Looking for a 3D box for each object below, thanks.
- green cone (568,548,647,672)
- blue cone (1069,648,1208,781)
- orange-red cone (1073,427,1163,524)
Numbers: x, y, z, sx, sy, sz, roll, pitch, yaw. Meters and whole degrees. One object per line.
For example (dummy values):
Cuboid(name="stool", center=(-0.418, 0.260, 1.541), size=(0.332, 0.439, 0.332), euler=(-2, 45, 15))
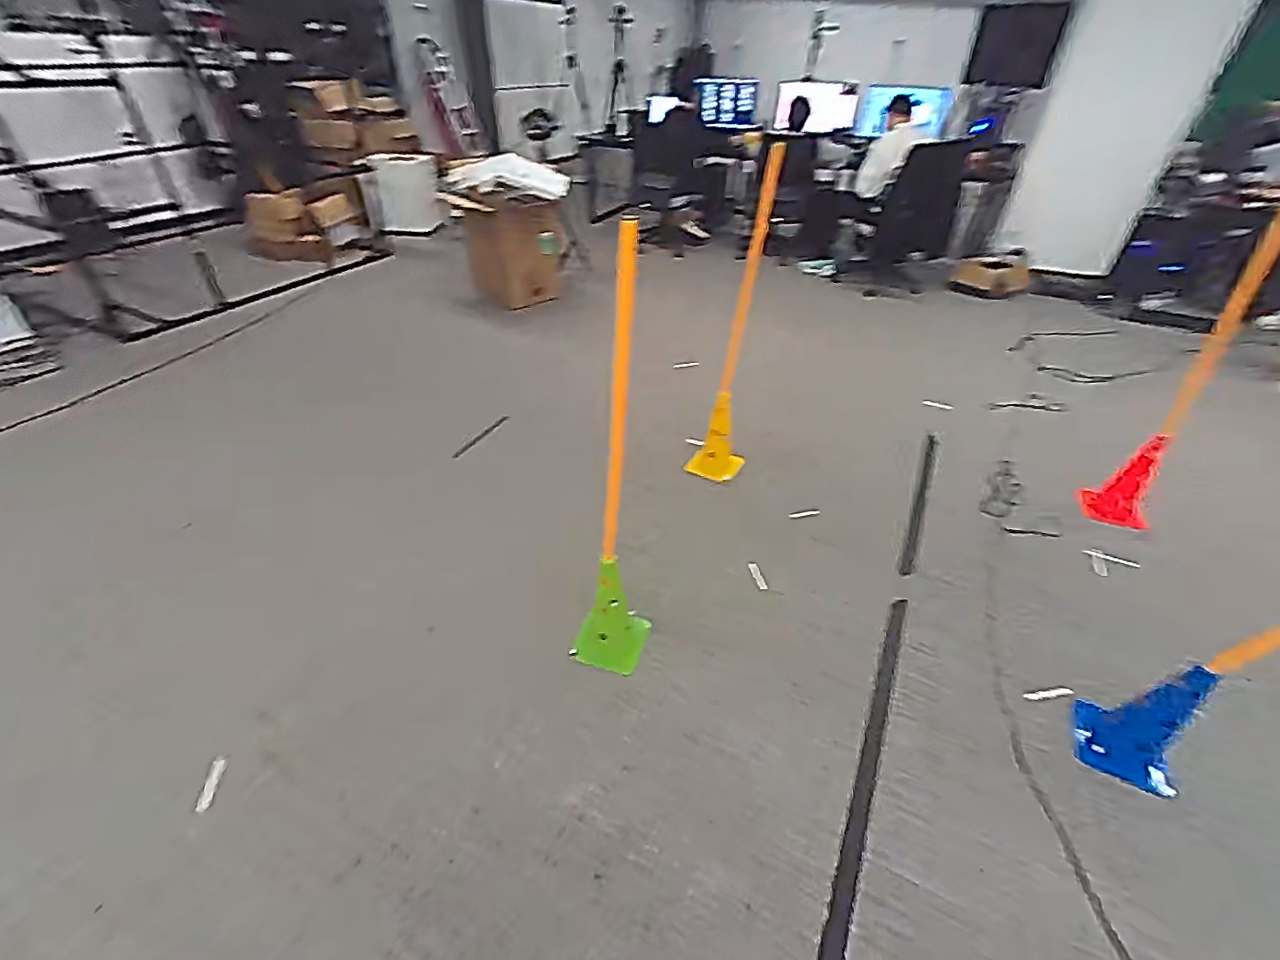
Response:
Cuboid(name="green cone", center=(-0.090, 0.339, 1.526), size=(0.200, 0.368, 0.202), euler=(11, 37, 12))
Cuboid(name="blue cone", center=(1.243, 0.542, 1.313), size=(0.193, 0.380, 0.192), euler=(20, 41, 22))
Cuboid(name="orange-red cone", center=(1.848, -0.039, 2.041), size=(0.199, 0.360, 0.198), euler=(13, 39, 18))
